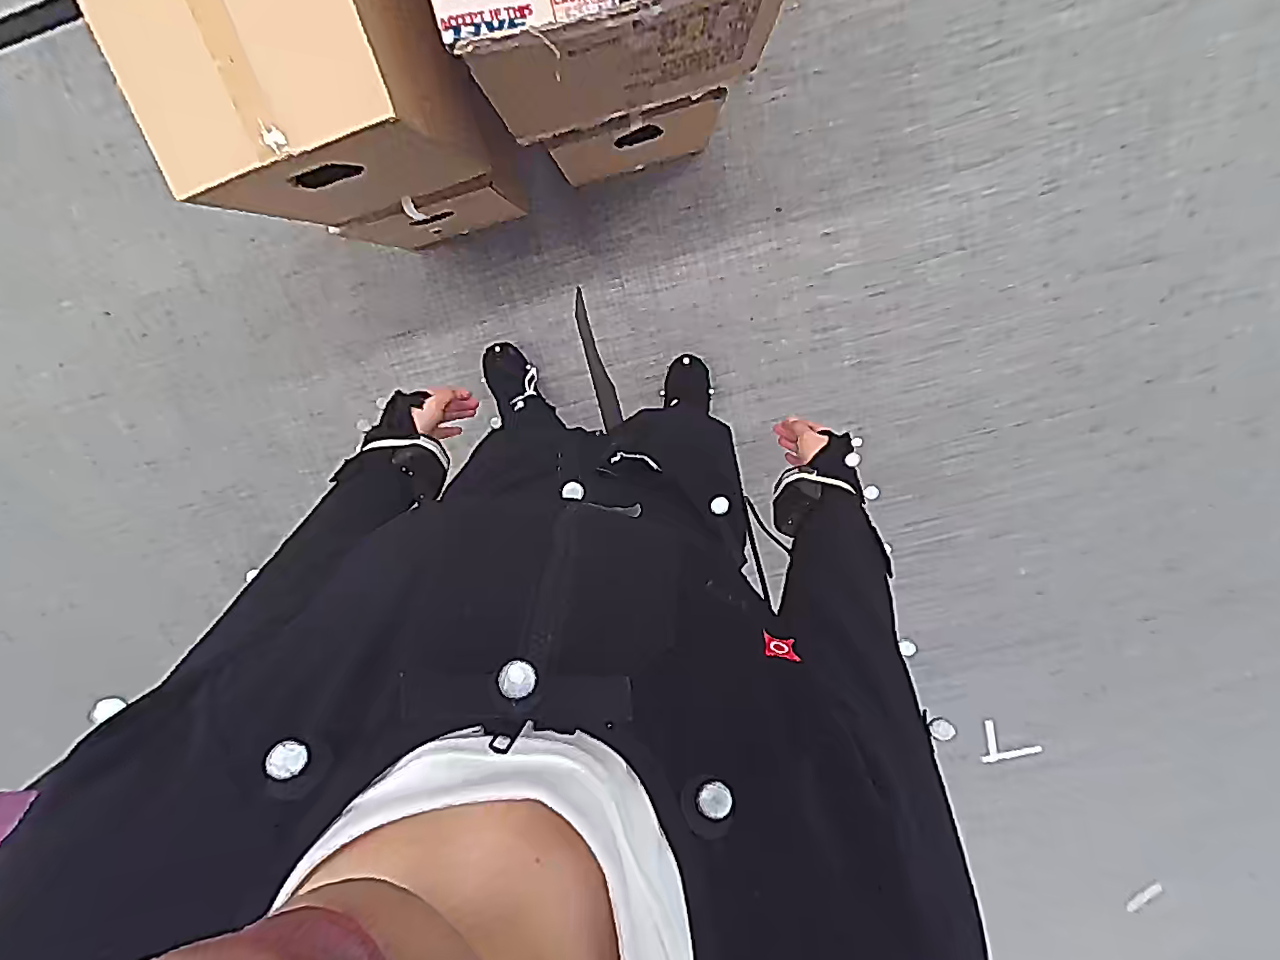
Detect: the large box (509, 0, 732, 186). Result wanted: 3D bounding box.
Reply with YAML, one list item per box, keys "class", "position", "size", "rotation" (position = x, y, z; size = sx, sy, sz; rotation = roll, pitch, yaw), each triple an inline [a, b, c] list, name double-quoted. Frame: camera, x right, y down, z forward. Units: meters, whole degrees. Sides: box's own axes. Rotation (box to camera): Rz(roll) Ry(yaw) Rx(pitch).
- class: "large box"
  position: [-0.049, -0.819, 0.980]
  size: [0.320, 0.320, 0.408]
  rotation: [-14, 107, 6]
